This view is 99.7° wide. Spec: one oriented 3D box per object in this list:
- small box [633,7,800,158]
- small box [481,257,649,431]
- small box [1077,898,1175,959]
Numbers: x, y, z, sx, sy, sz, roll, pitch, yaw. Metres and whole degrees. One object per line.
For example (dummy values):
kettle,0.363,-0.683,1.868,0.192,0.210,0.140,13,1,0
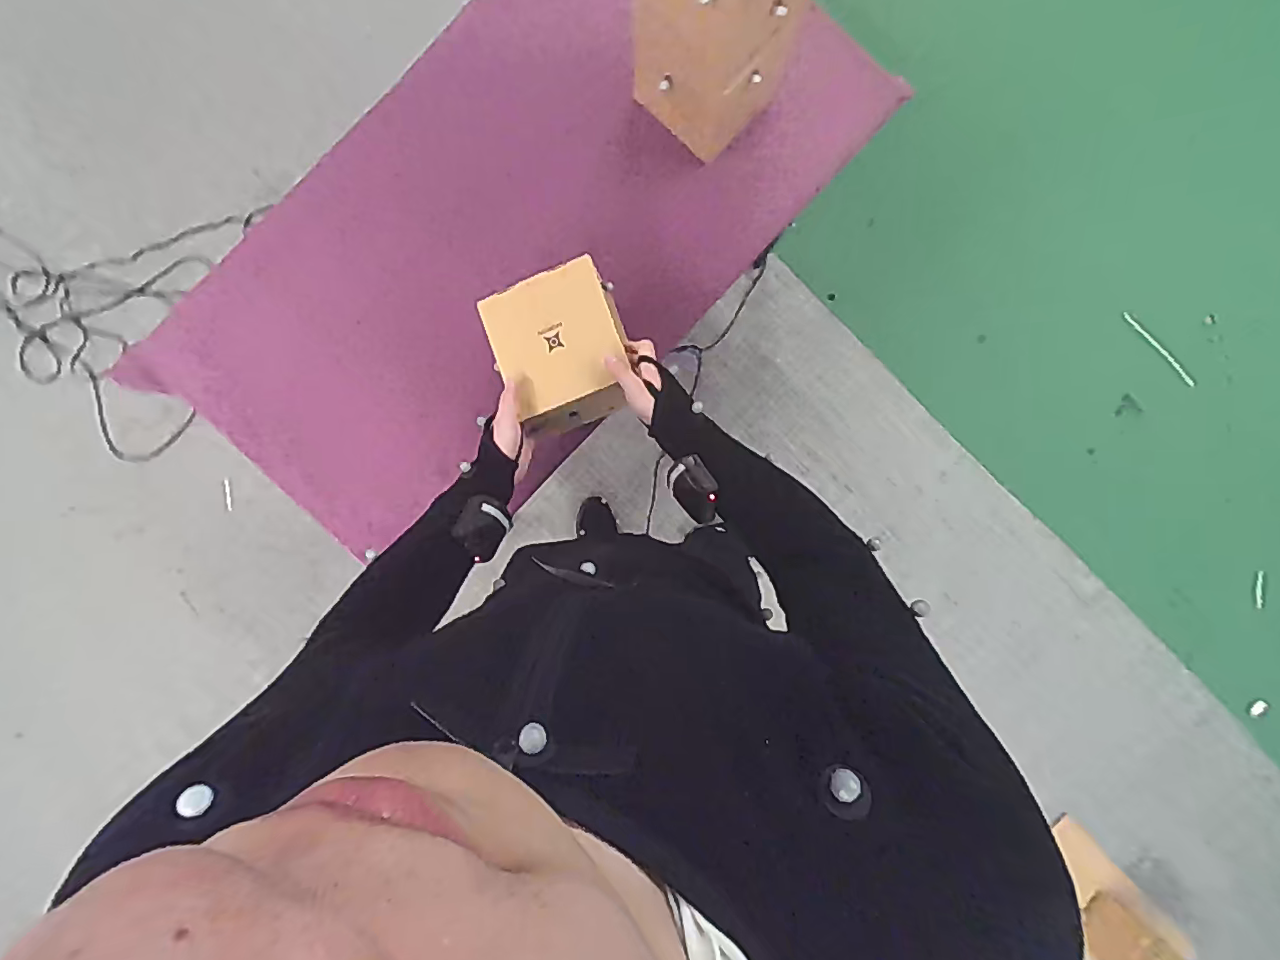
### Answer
small box,0.105,-0.647,0.828,0.179,0.176,0.168,42,90,0
small box,-0.095,-0.178,0.776,0.168,0.176,0.179,-21,85,7
small box,1.449,1.384,1.577,0.179,0.176,0.168,38,89,-1
